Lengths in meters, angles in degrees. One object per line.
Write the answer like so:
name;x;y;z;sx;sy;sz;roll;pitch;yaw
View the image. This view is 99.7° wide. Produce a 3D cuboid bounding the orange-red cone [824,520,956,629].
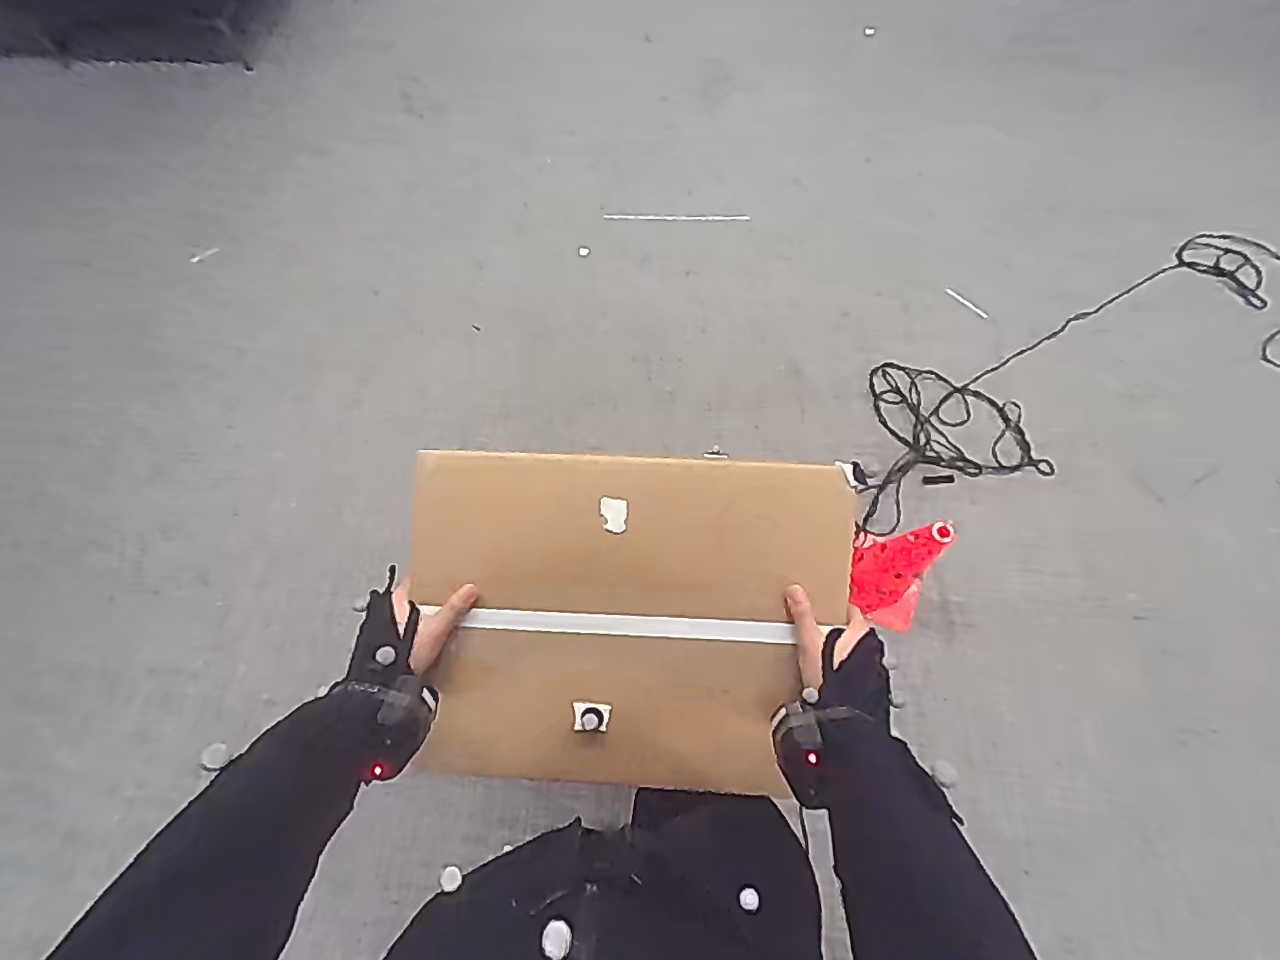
orange-red cone;0.535;0.153;1.086;0.199;0.360;0.198;23;70;12
